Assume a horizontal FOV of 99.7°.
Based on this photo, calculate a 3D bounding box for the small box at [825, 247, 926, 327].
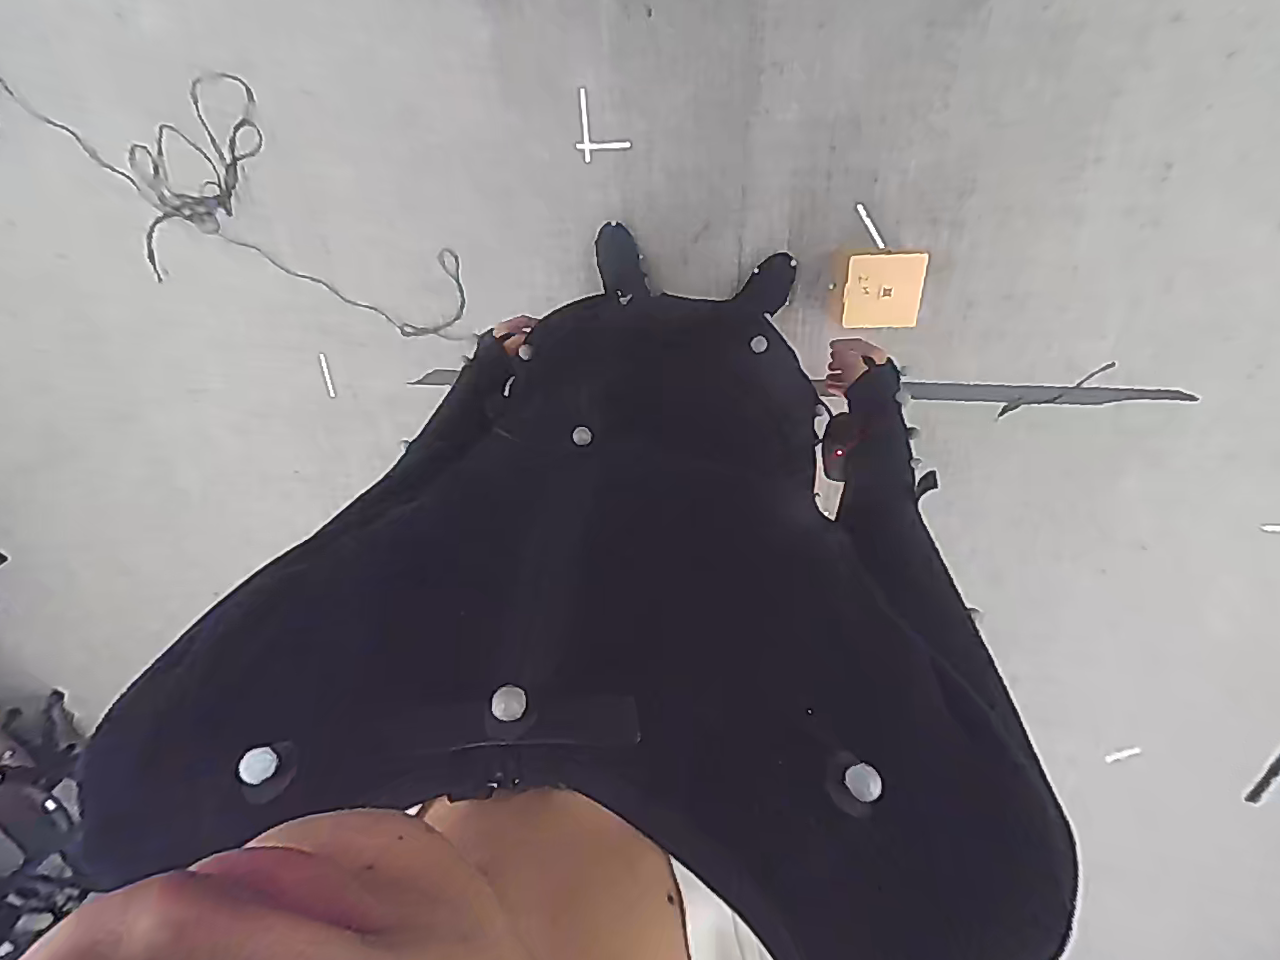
[{"bbox_3d":[0.572,-0.480,1.338,0.179,0.176,0.168,2,117,7],"label":"small box"}]
